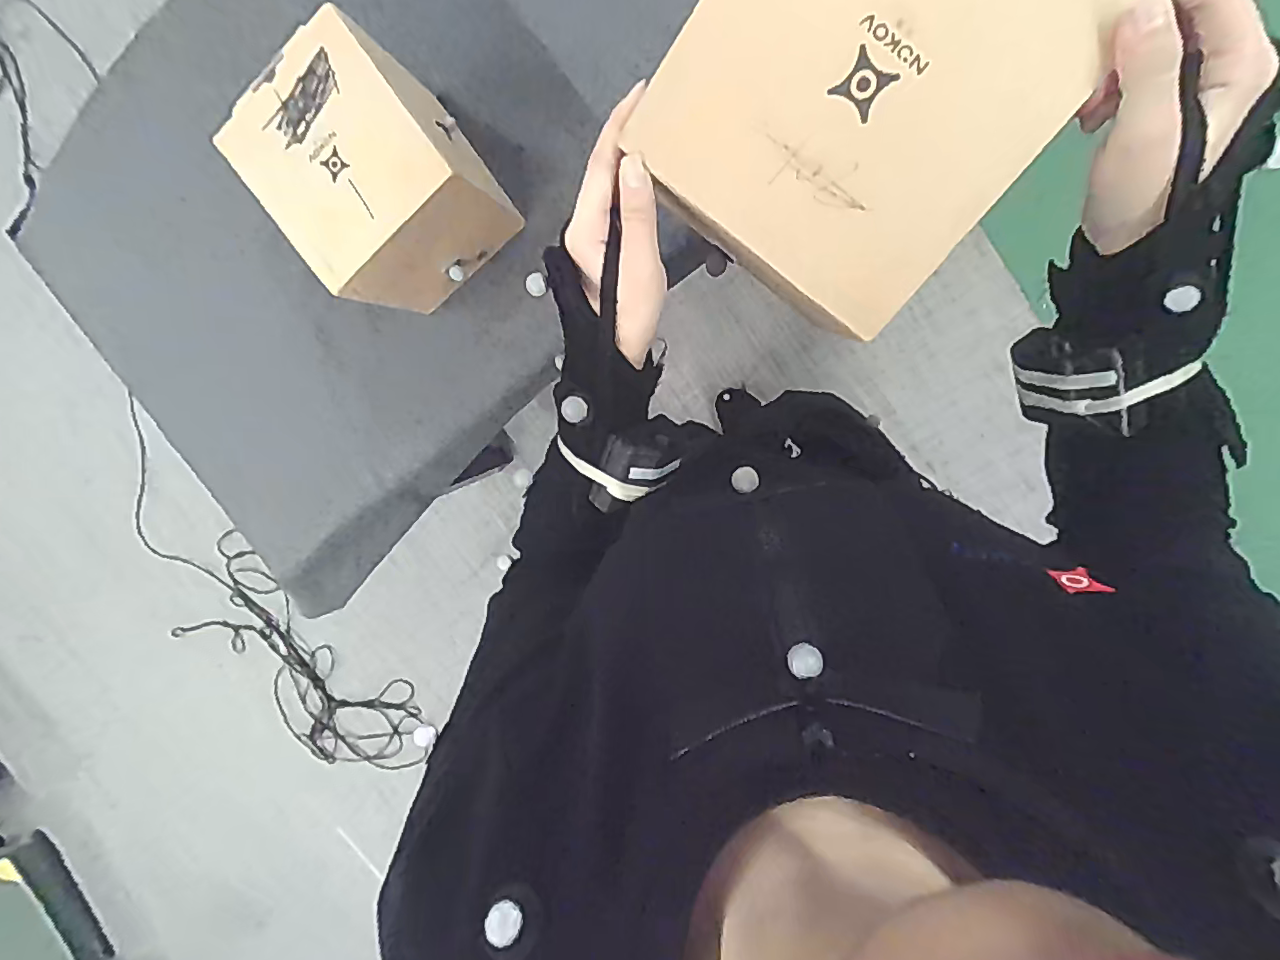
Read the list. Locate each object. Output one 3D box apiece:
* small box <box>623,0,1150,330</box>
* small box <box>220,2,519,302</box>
[{"bbox_3d":[0.115,-0.214,0.323,0.168,0.176,0.179,37,111,-2],"label":"small box"},{"bbox_3d":[-0.260,-0.308,0.558,0.168,0.176,0.179,-35,93,15],"label":"small box"}]
